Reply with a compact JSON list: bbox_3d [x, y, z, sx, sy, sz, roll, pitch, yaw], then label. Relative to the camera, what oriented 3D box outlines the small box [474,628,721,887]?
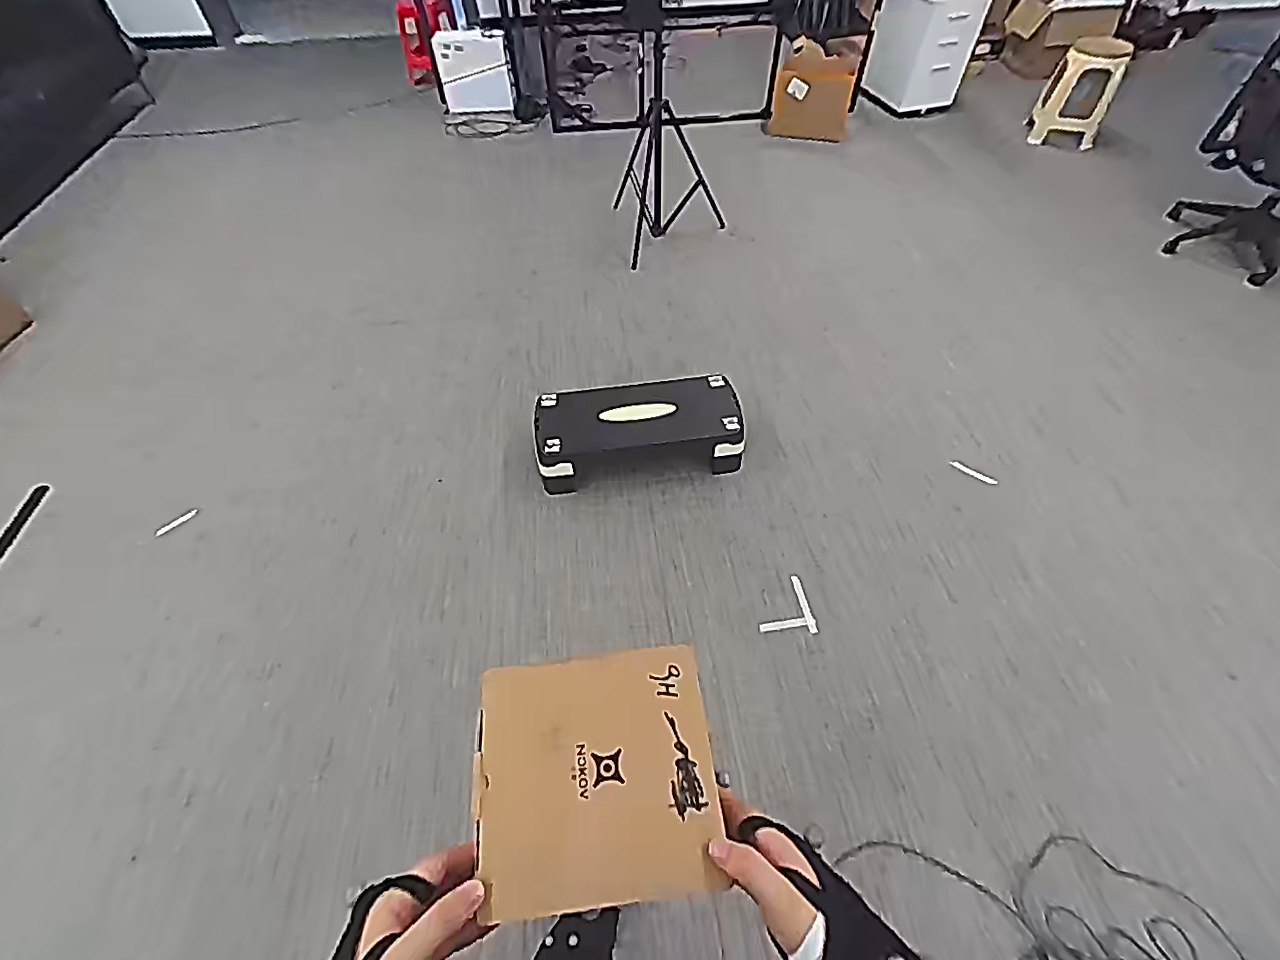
[{"bbox_3d":[-0.034,0.246,0.481,0.179,0.176,0.168,-7,58,-3],"label":"small box"}]
